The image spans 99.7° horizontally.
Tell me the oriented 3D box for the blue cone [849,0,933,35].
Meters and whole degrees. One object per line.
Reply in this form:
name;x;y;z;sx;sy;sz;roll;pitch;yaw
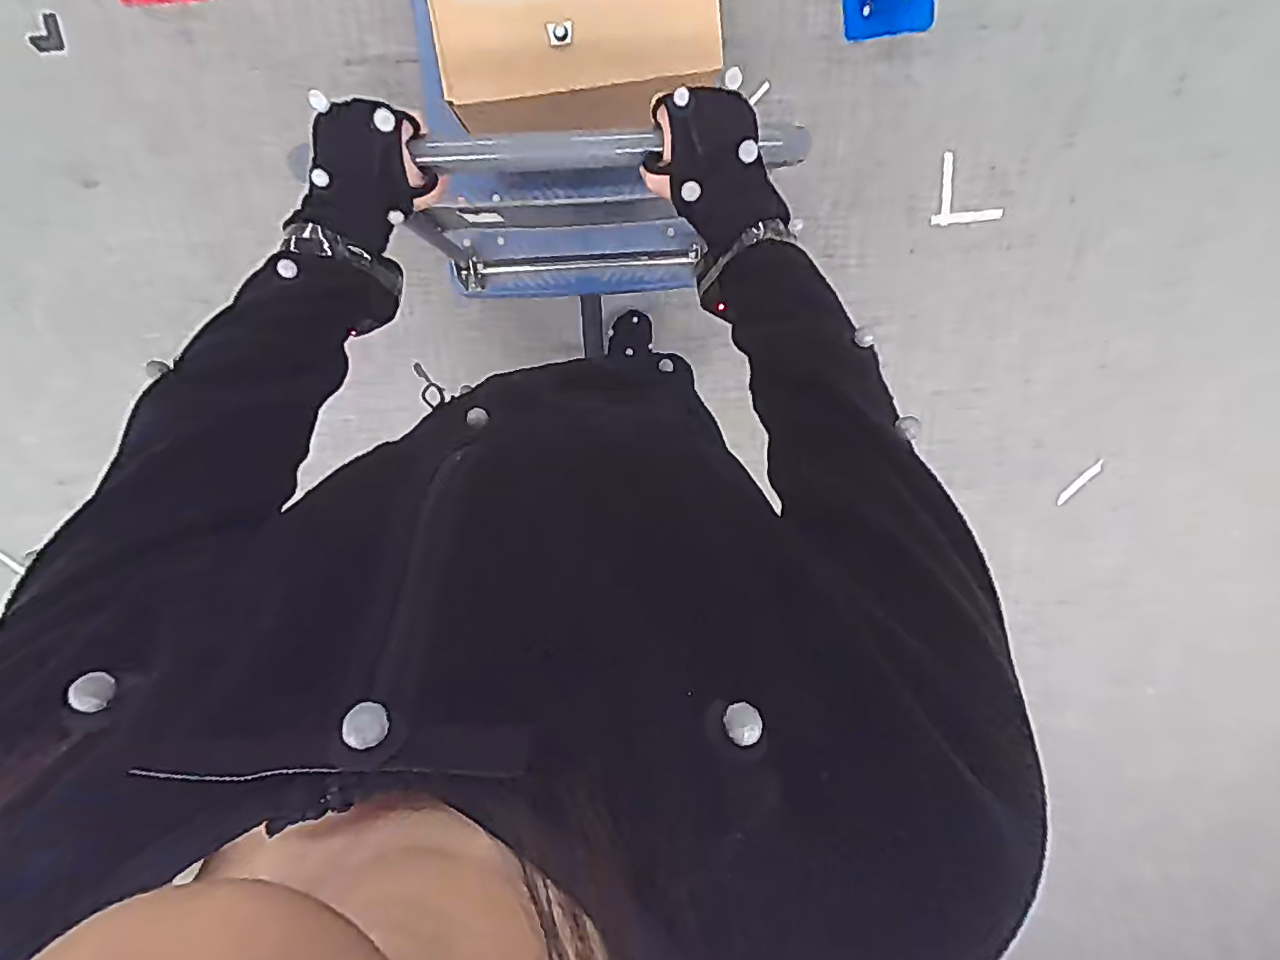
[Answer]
blue cone;0.549;-1.040;1.013;0.193;0.380;0.192;-7;104;0
